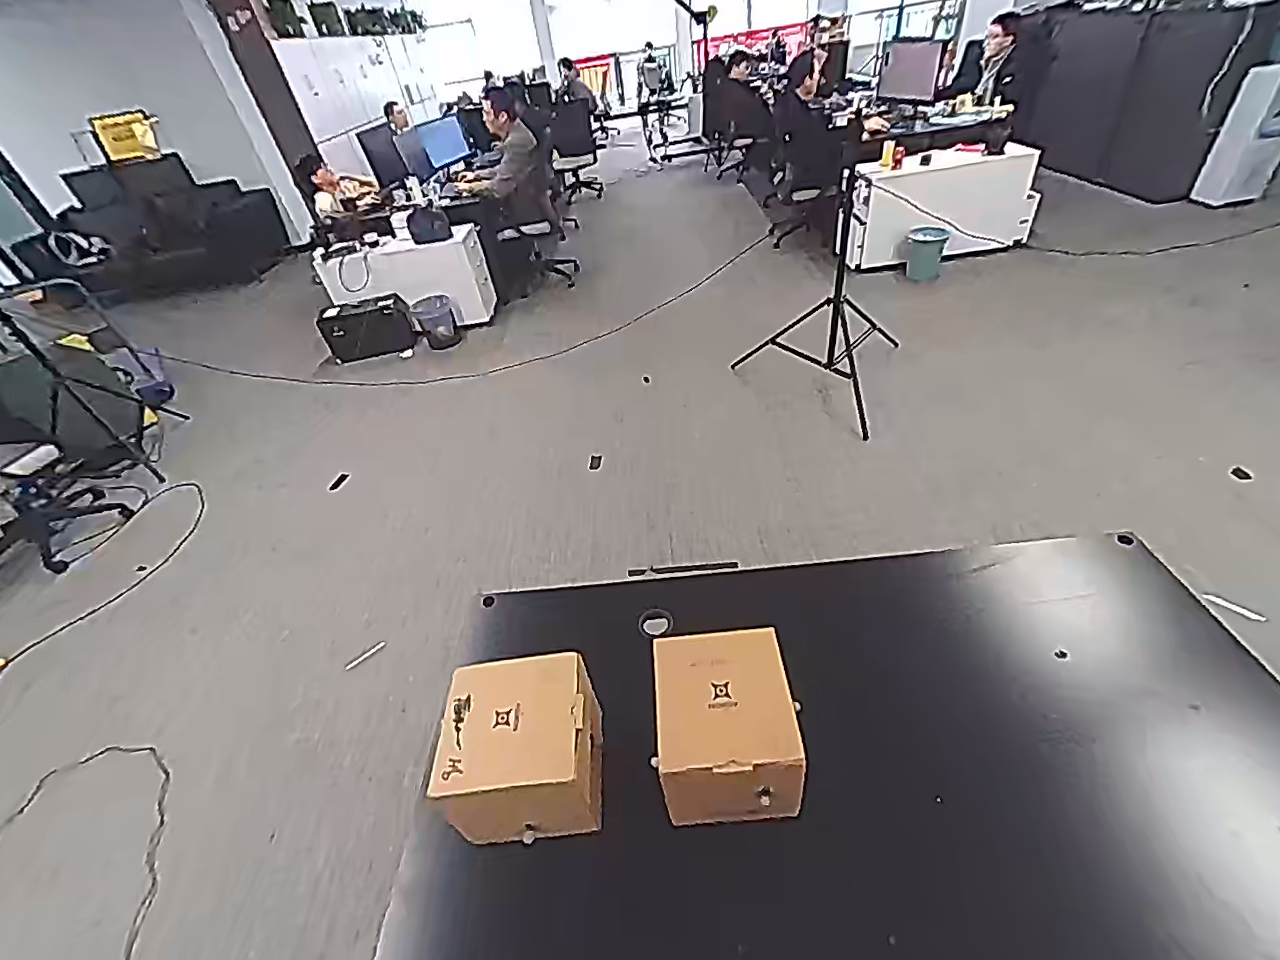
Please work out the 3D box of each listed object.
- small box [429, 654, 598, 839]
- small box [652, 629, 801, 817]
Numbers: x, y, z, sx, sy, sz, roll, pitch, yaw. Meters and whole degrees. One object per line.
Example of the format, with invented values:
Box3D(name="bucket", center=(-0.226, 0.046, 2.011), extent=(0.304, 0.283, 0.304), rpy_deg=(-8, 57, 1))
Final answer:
Box3D(name="small box", center=(-0.152, 0.358, 0.726), extent=(0.179, 0.176, 0.168), rpy_deg=(-7, 39, 1))
Box3D(name="small box", center=(0.108, 0.326, 0.718), extent=(0.168, 0.176, 0.179), rpy_deg=(-6, 39, 2))
